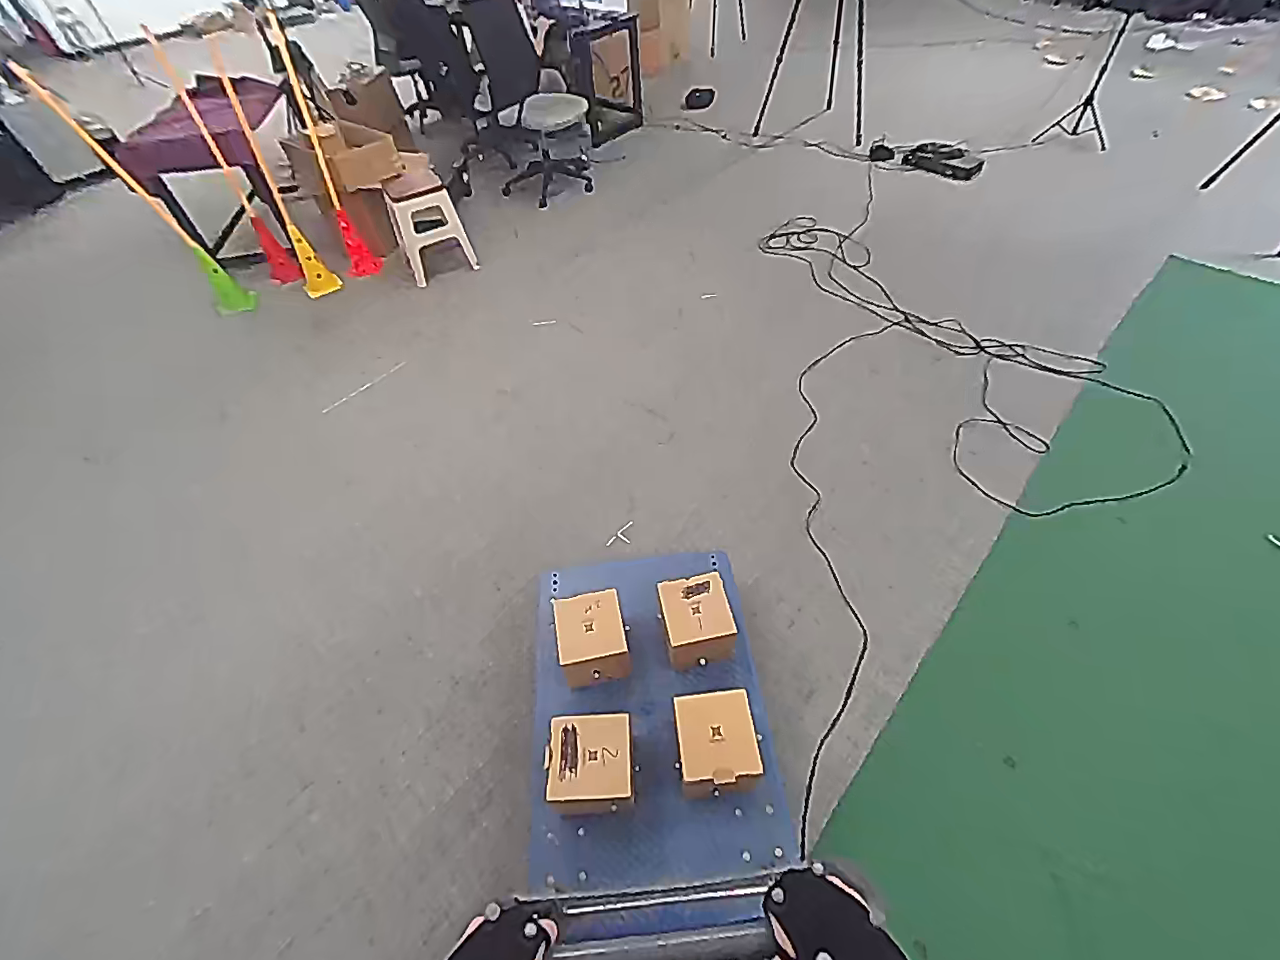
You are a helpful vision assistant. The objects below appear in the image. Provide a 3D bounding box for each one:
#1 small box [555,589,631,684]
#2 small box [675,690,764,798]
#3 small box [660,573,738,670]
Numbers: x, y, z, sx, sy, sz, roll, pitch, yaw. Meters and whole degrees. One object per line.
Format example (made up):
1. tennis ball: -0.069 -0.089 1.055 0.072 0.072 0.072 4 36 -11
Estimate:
1. small box: -0.119 0.409 1.393 0.168 0.176 0.179 -10 50 -5
2. small box: 0.171 0.597 1.219 0.168 0.176 0.179 -6 51 -1
3. small box: 0.147 0.369 1.407 0.168 0.176 0.179 -10 51 -4
